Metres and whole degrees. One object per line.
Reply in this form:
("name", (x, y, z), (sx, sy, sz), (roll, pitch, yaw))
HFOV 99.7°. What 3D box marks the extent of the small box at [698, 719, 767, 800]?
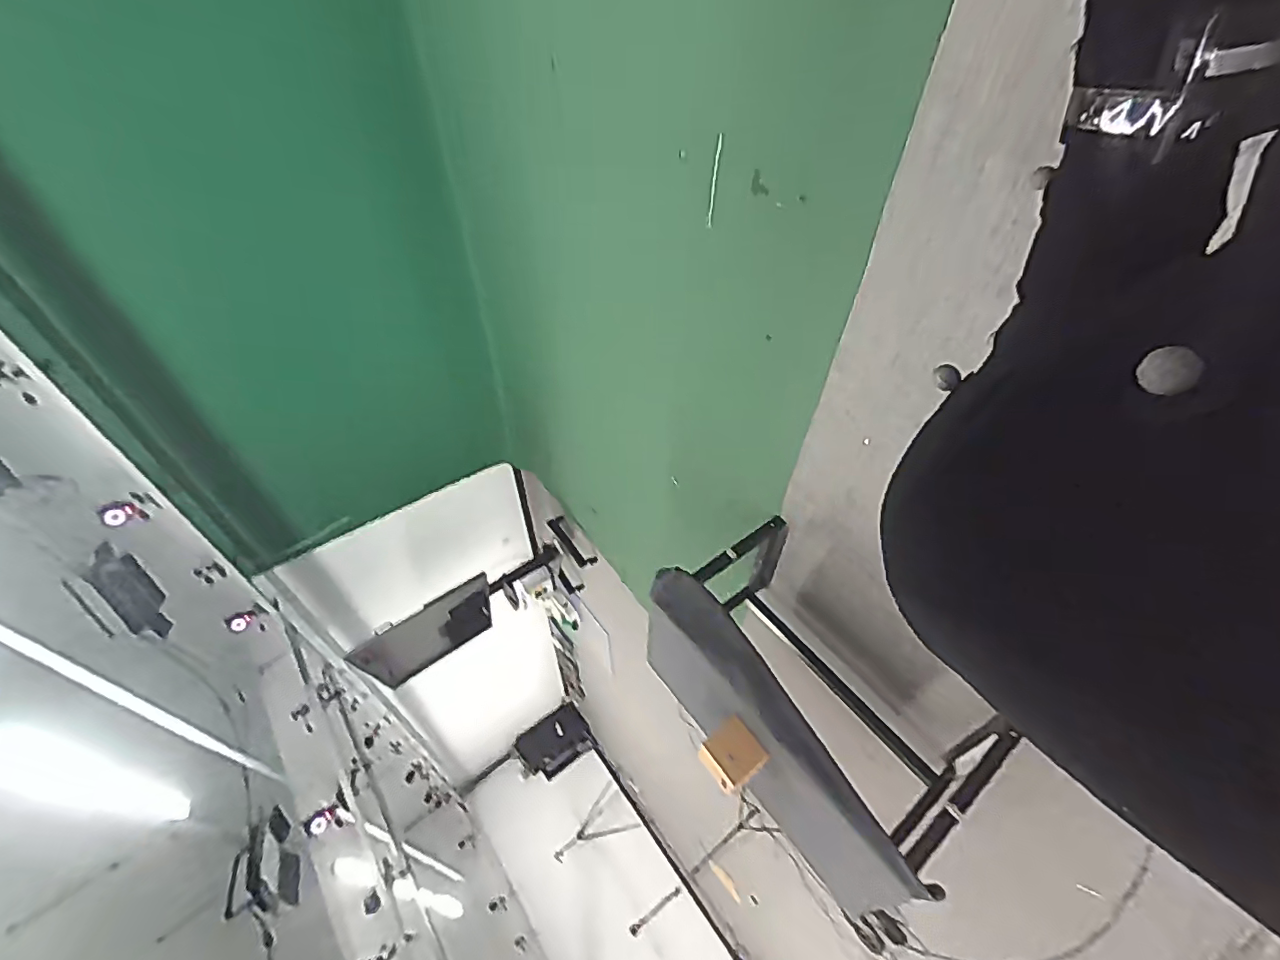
("small box", (0.334, 1.009, 1.958), (0.179, 0.176, 0.168), (46, 151, 33))
